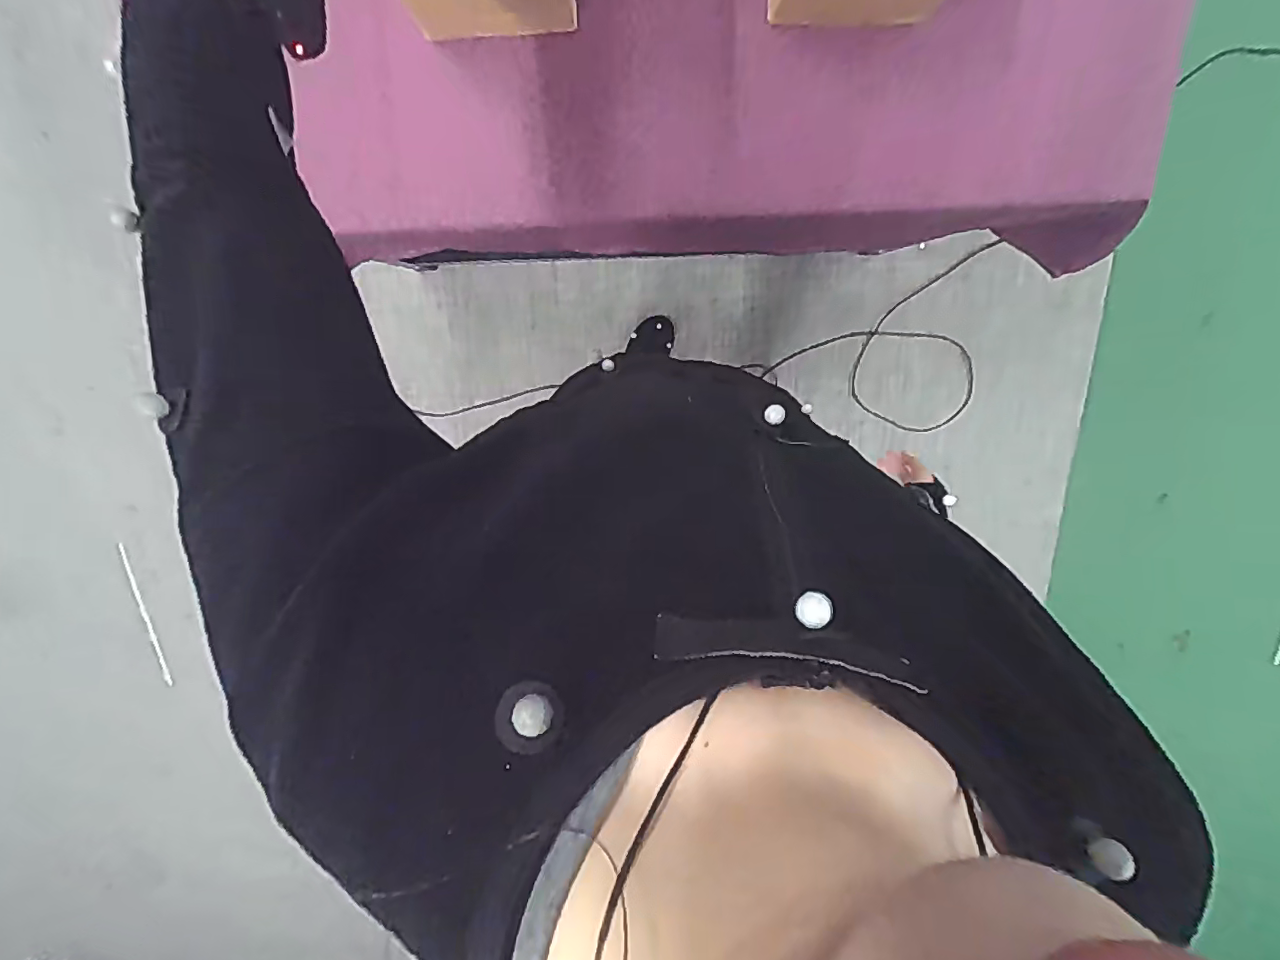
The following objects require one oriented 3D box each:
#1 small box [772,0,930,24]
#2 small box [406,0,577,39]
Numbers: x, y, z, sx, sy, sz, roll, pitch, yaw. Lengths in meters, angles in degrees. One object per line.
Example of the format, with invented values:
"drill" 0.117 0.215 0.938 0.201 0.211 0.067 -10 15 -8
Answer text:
"small box" 0.232 -0.574 0.517 0.179 0.176 0.168 0 107 -1
"small box" -0.162 -0.563 0.520 0.179 0.176 0.168 -4 106 0
